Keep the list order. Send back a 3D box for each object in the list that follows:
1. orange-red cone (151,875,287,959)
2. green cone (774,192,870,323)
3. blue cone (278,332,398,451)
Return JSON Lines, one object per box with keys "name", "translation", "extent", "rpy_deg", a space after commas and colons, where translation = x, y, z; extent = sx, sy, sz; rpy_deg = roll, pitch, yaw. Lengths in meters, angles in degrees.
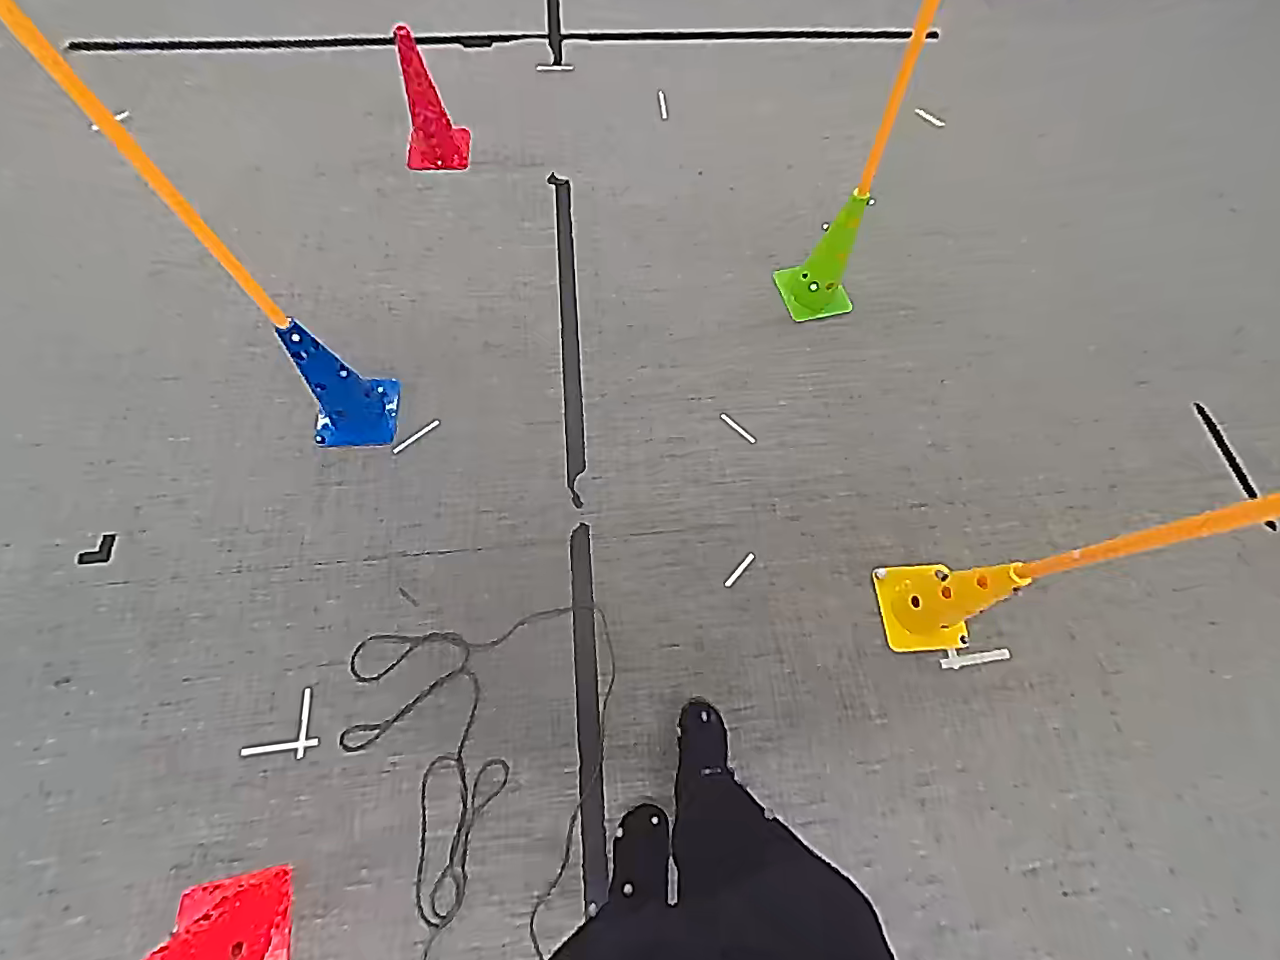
{"name": "orange-red cone", "translation": [-0.743, 0.785, 0.831], "extent": [0.199, 0.360, 0.198], "rpy_deg": [-8, 68, -8]}
{"name": "green cone", "translation": [0.542, -0.645, 1.517], "extent": [0.200, 0.368, 0.202], "rpy_deg": [-14, 70, -8]}
{"name": "blue cone", "translation": [-0.737, -0.228, 1.287], "extent": [0.193, 0.380, 0.192], "rpy_deg": [-2, 67, -3]}
